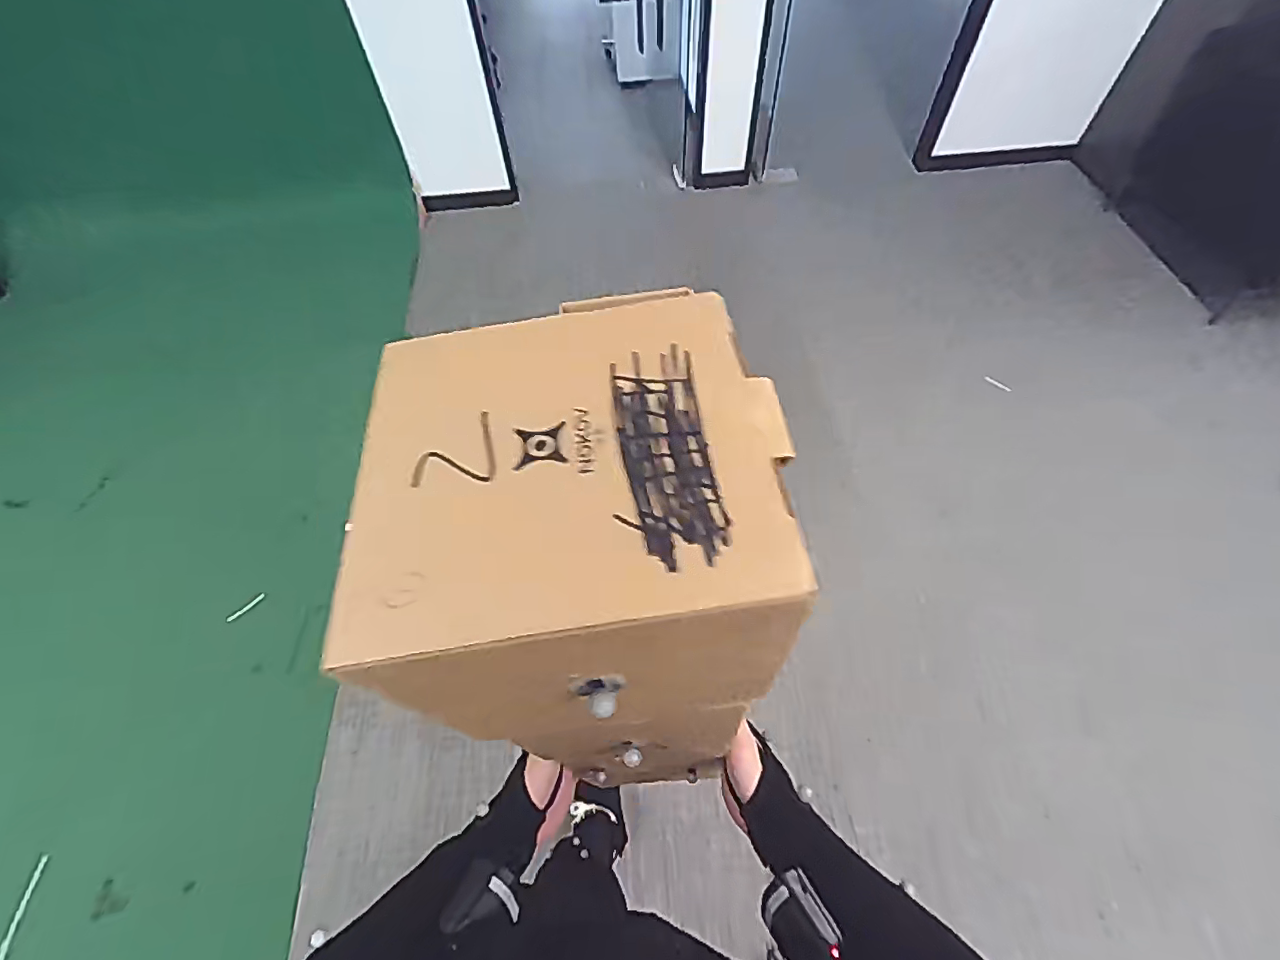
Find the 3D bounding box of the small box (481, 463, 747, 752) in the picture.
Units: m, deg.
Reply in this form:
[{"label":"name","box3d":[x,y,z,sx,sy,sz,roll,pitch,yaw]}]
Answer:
[{"label":"small box","box3d":[-0.014,0.108,0.439,0.168,0.176,0.179,-5,56,2]}]

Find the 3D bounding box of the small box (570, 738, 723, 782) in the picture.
[{"label":"small box","box3d":[0.011,0.291,0.710,0.179,0.176,0.168,-5,55,2]}]

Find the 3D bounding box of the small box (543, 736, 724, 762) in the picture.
[{"label":"small box","box3d":[0.000,0.196,0.577,0.168,0.176,0.179,-3,55,3]}]
